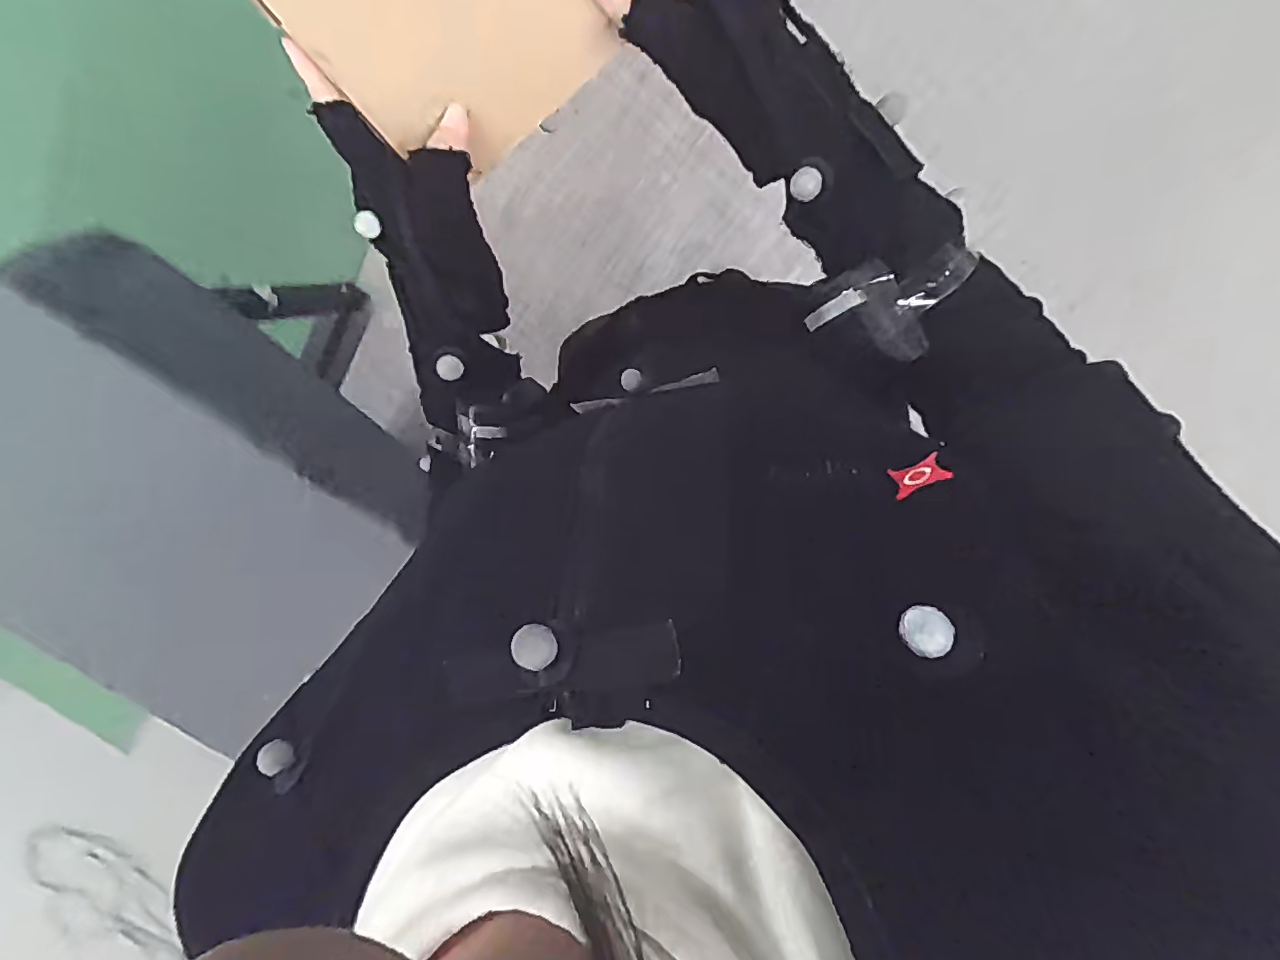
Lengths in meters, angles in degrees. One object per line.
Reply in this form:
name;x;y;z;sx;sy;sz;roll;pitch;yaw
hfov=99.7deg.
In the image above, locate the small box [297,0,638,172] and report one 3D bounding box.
small box;-0.091;-0.318;0.303;0.179;0.176;0.168;-31;125;22
